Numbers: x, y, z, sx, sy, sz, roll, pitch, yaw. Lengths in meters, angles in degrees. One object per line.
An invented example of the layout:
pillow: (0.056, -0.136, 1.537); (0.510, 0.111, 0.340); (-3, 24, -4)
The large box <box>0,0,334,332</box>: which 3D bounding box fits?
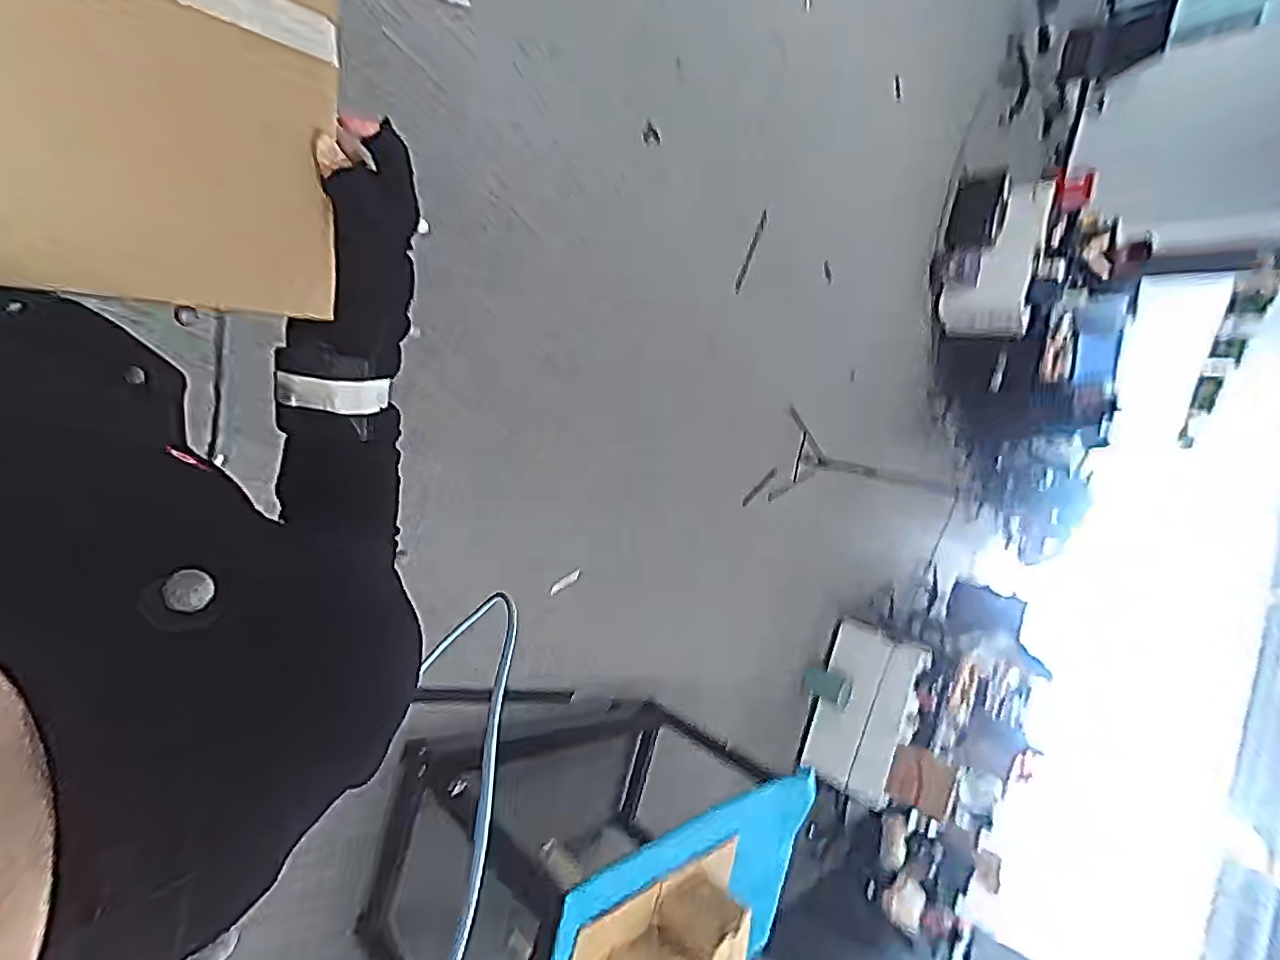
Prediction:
large box: (-0.429, -0.274, 0.291); (0.408, 0.320, 0.320); (-6, 111, -44)
